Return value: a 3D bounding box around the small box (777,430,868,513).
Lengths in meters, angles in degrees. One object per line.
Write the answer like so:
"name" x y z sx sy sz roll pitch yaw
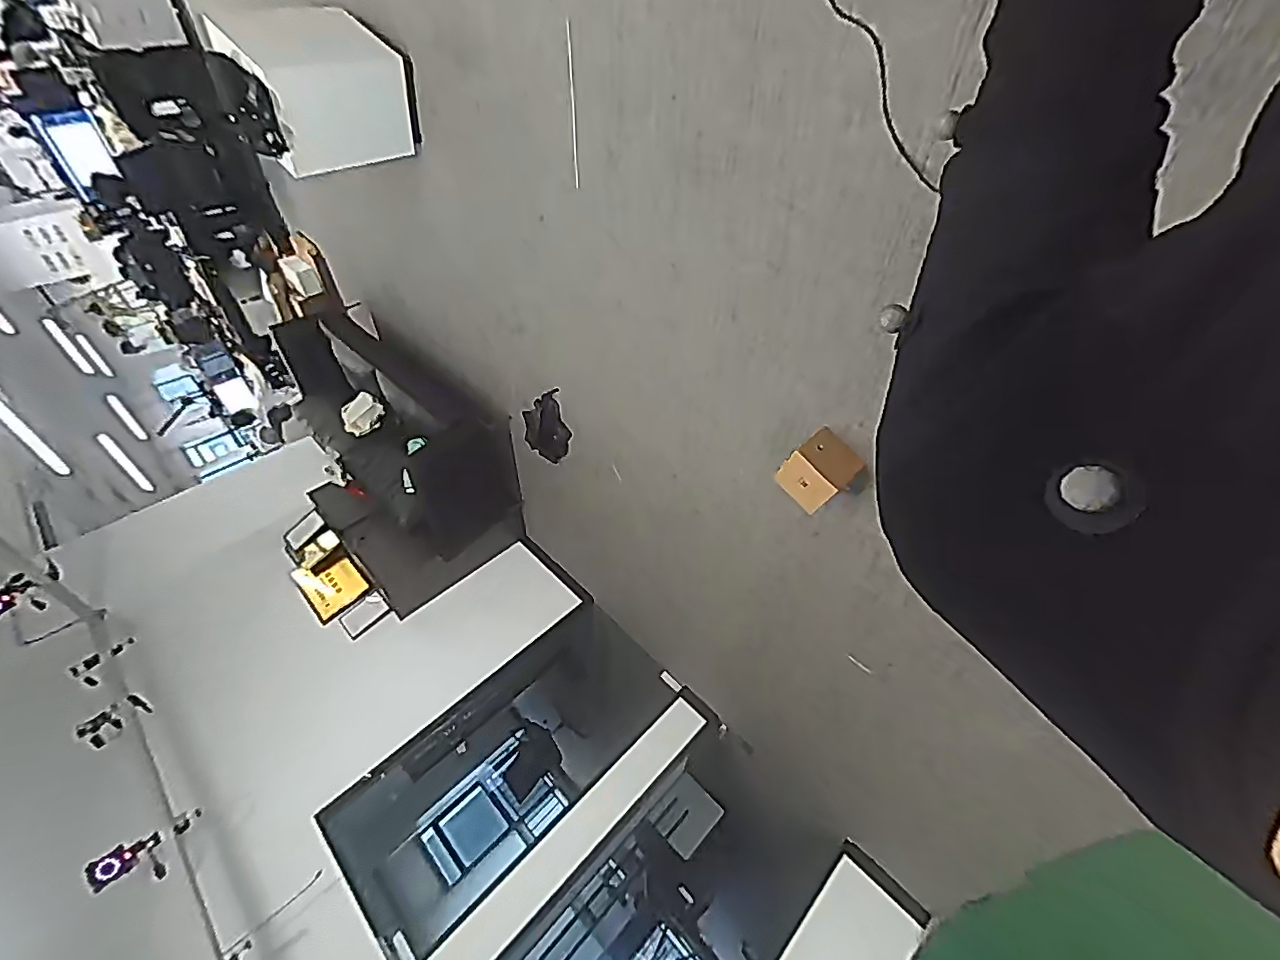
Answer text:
"small box" 0.575 -0.035 1.706 0.179 0.176 0.168 46 149 14
